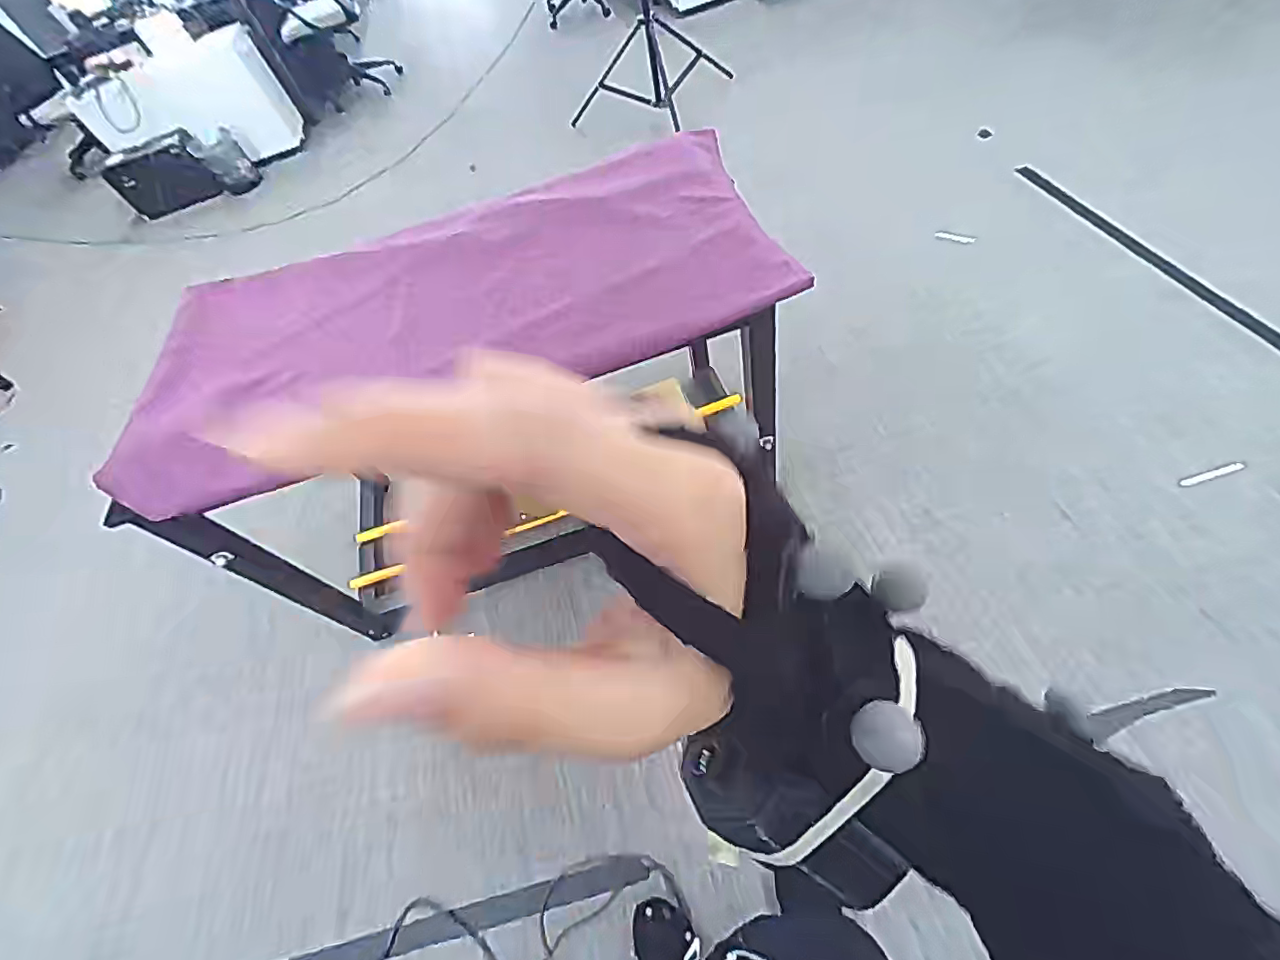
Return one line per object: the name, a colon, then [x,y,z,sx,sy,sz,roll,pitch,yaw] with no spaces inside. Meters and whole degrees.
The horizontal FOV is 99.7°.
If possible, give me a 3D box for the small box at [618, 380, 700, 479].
small box: [0.055,-0.133,1.462,0.168,0.176,0.179,-20,57,1]
